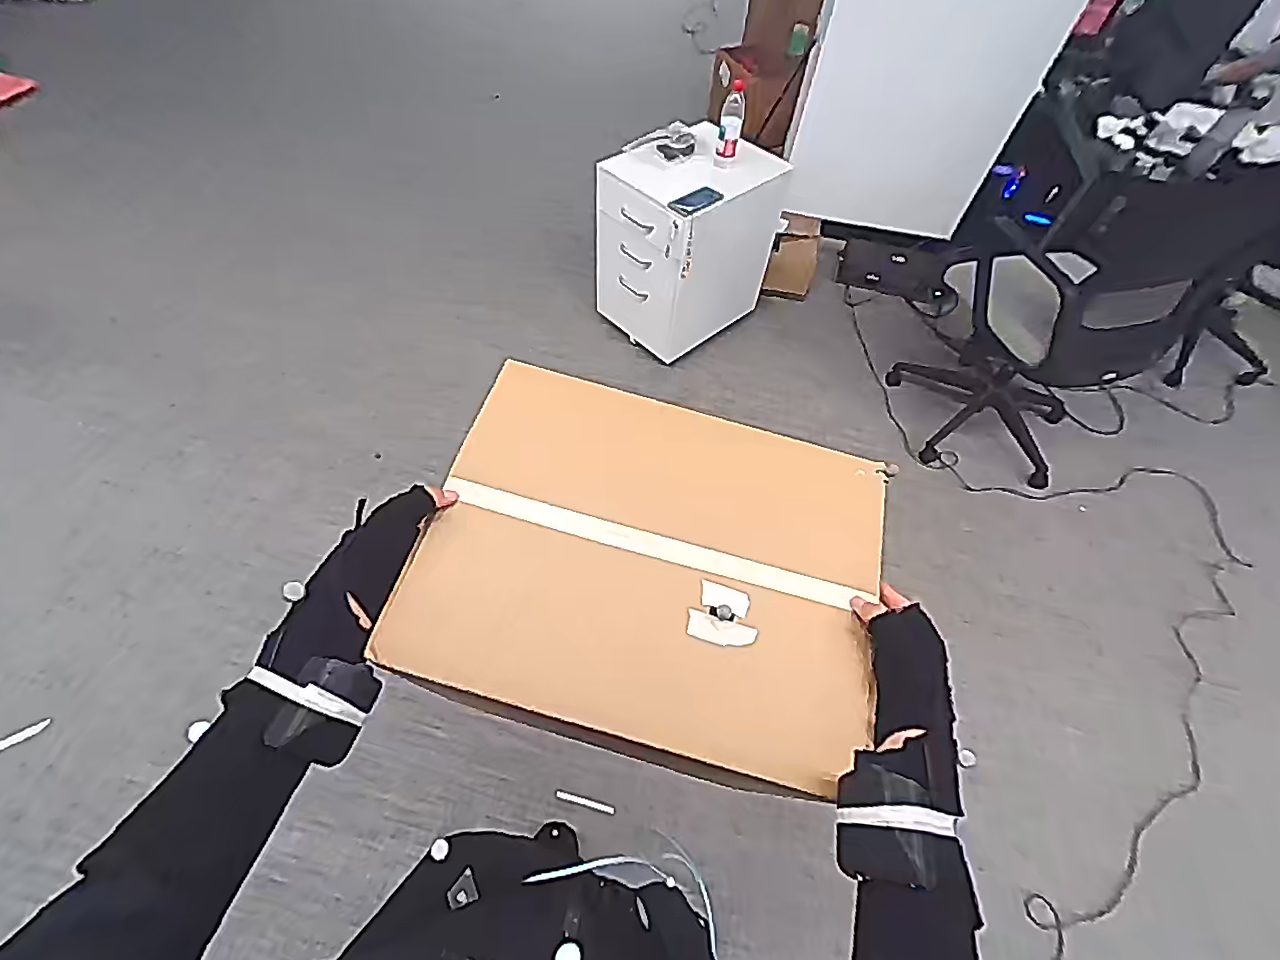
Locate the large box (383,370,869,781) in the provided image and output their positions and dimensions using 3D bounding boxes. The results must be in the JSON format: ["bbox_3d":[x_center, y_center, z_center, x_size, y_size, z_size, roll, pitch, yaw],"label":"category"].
[{"bbox_3d":[-0.003,0.129,0.633,0.408,0.320,0.320,16,63,0],"label":"large box"}]
